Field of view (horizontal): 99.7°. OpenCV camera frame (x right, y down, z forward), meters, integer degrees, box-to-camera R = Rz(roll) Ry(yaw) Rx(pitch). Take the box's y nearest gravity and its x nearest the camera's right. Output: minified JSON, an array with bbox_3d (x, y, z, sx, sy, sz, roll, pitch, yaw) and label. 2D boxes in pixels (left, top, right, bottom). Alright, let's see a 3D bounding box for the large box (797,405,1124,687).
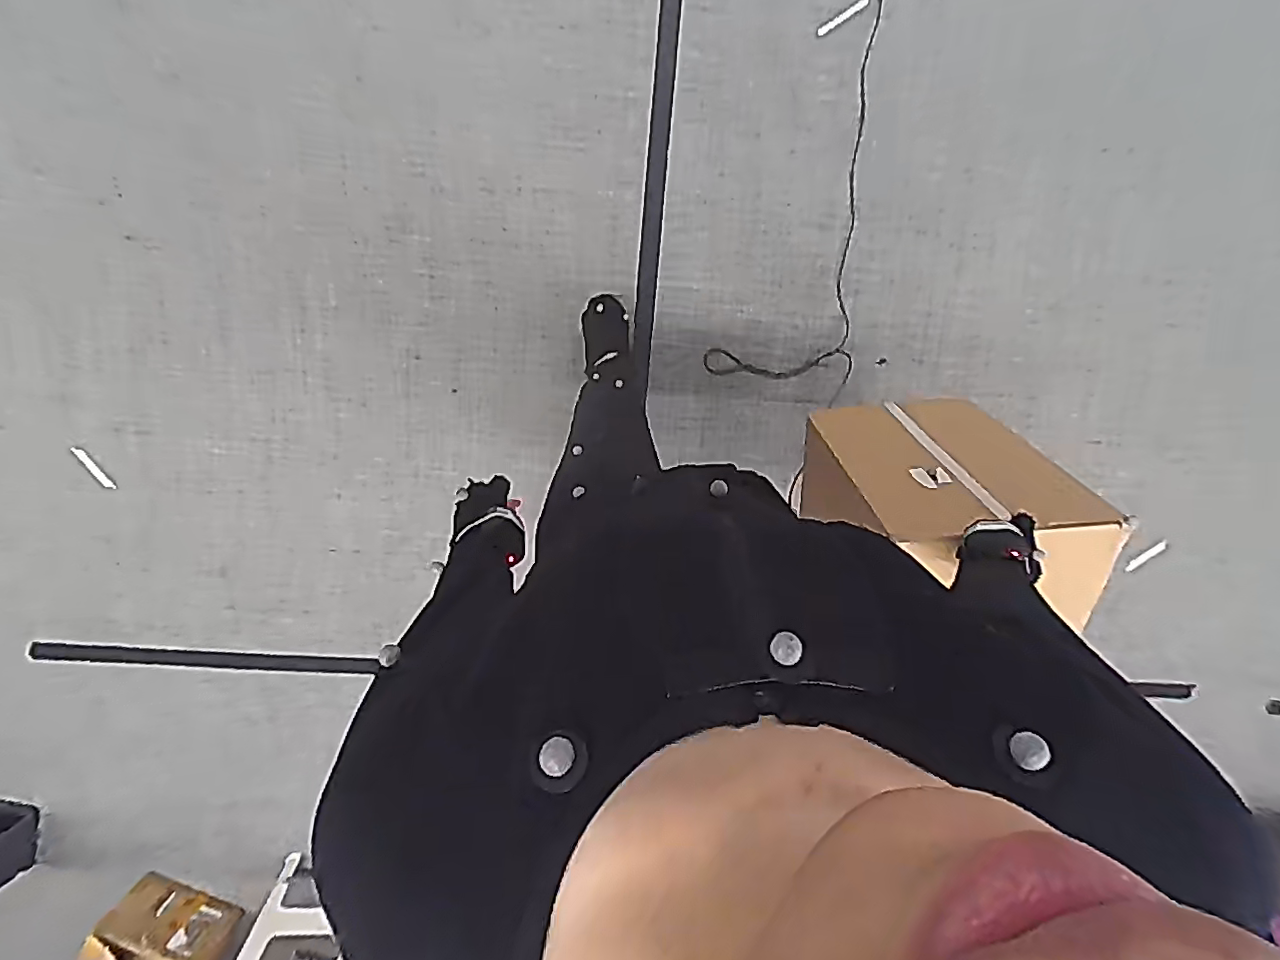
[{"bbox_3d":[0.502,0.097,0.971,0.320,0.408,0.320,-6,123,1],"label":"large box"}]
